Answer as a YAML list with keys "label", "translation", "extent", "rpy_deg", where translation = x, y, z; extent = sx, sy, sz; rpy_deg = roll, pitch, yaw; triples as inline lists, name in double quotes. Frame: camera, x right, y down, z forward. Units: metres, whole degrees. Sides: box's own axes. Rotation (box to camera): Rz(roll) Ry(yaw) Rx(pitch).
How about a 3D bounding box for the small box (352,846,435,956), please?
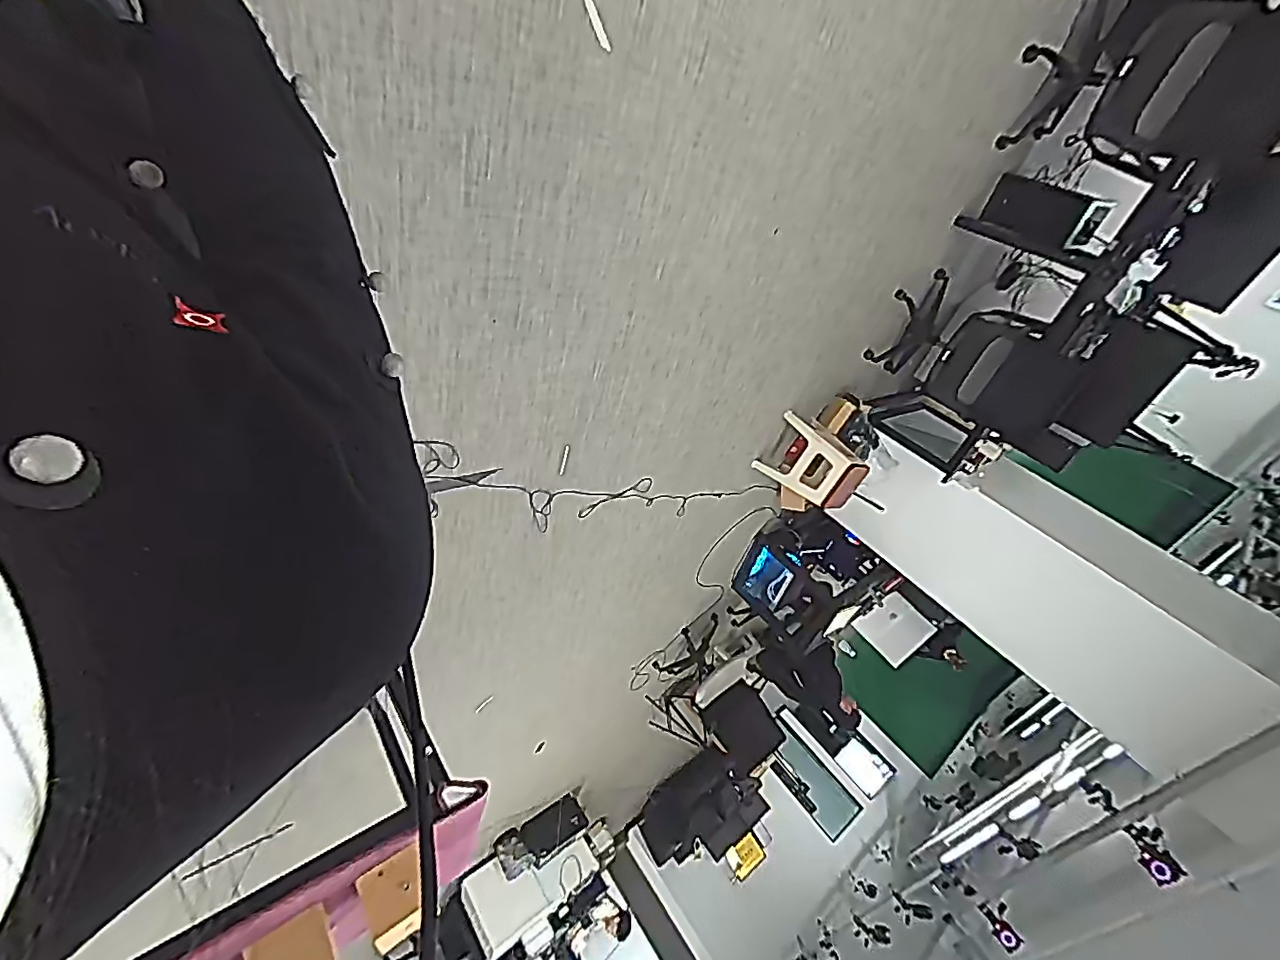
- label: "small box"
  translation: [-0.700, 1.187, 1.536]
  extent: [0.168, 0.176, 0.179]
  rpy_deg: [-20, 140, -34]

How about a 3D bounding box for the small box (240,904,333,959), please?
- label: "small box"
  translation: [-0.892, 1.241, 1.375]
  extent: [0.179, 0.176, 0.168]
  rpy_deg: [-18, 139, -36]
